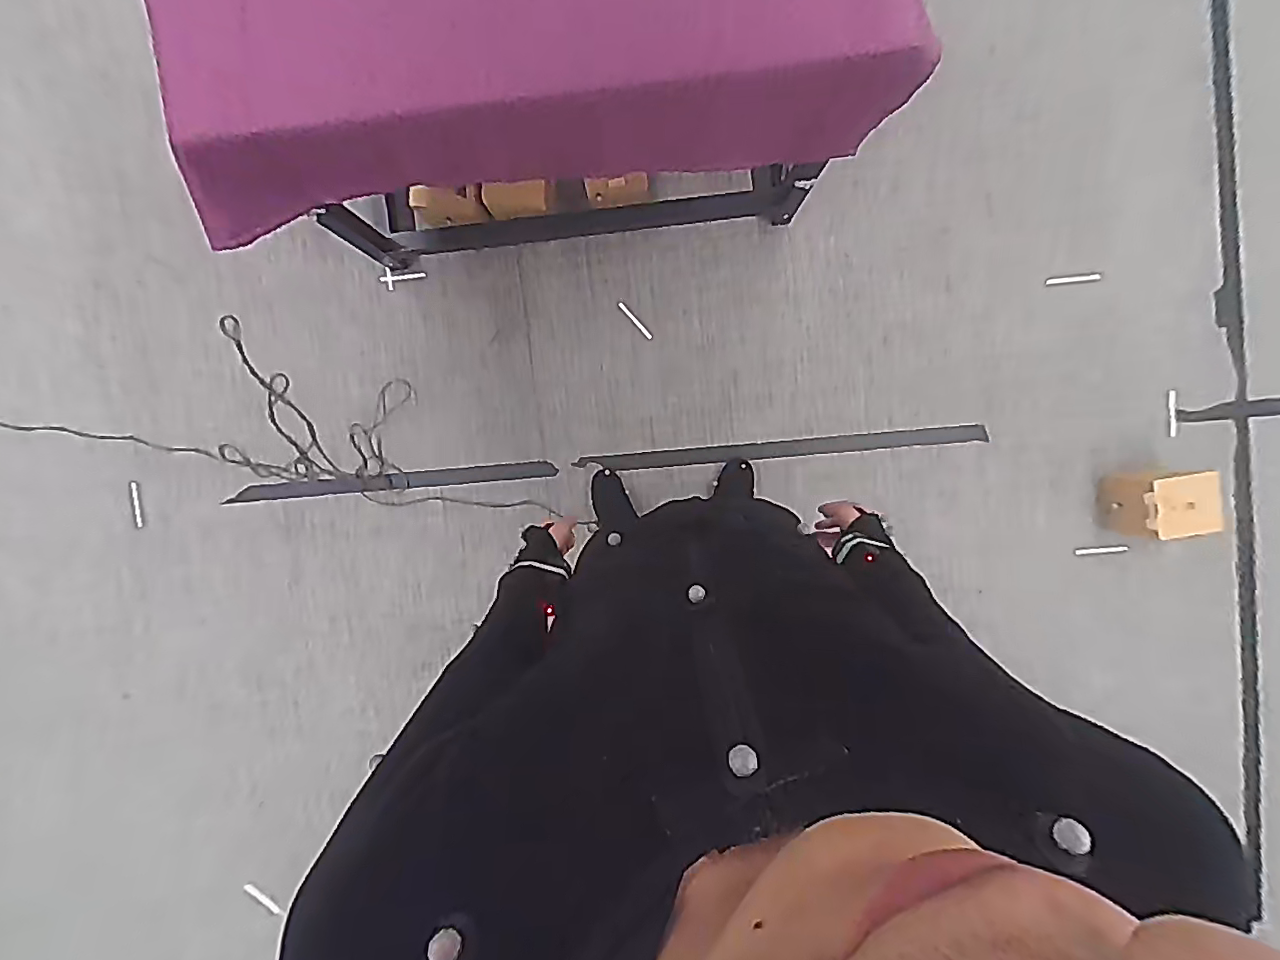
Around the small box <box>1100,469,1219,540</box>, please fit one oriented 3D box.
[{"bbox_3d":[1.454,0.063,1.522,0.179,0.176,0.168,-9,94,3],"label":"small box"}]
